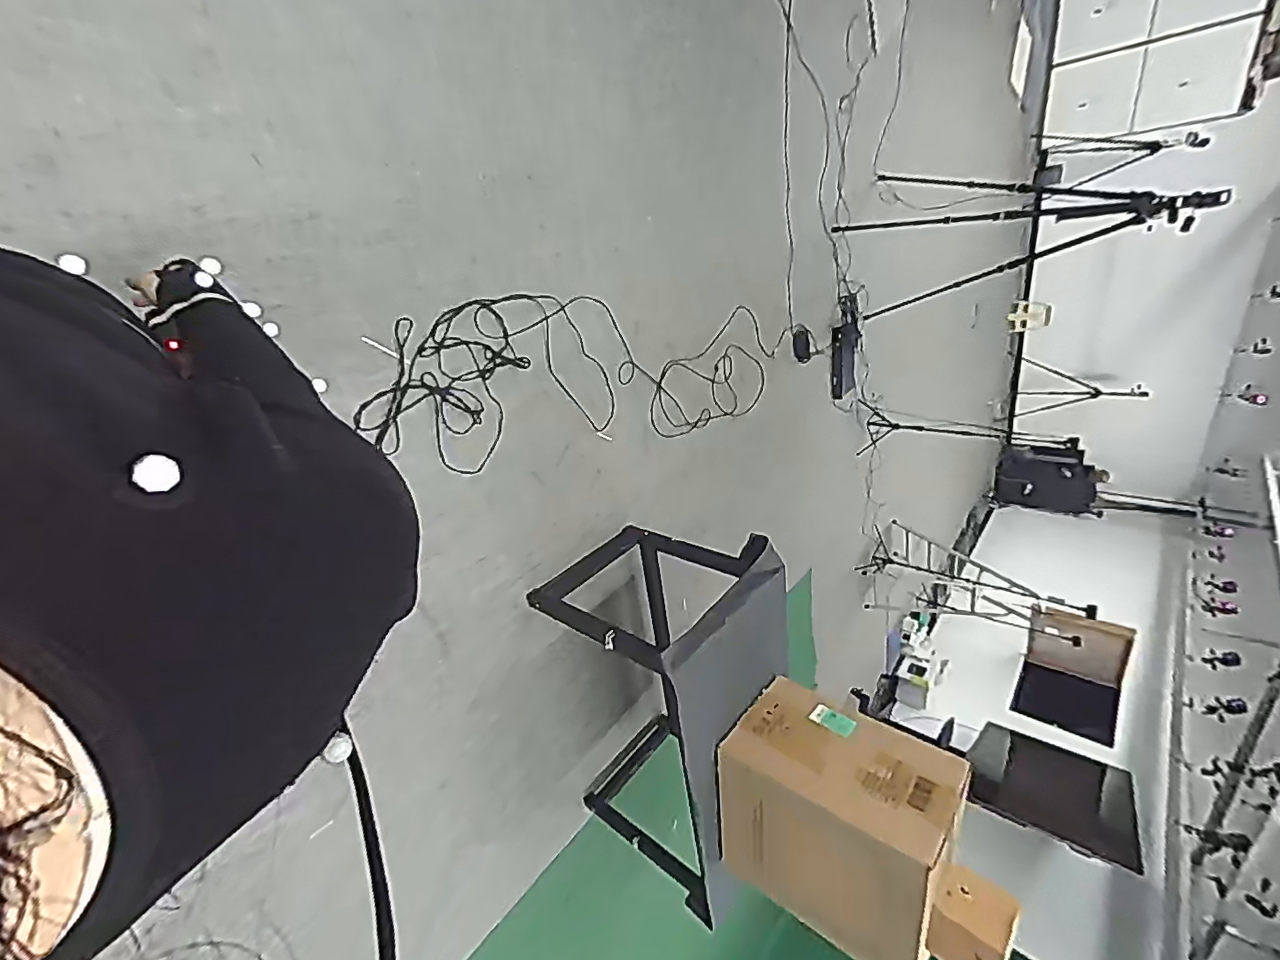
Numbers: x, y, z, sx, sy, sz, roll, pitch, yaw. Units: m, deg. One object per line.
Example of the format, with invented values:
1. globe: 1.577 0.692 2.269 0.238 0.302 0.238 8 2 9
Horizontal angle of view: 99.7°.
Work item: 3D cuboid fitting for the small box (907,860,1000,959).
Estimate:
1. small box: 0.829 1.175 1.441 0.168 0.176 0.179 -22 116 -42
